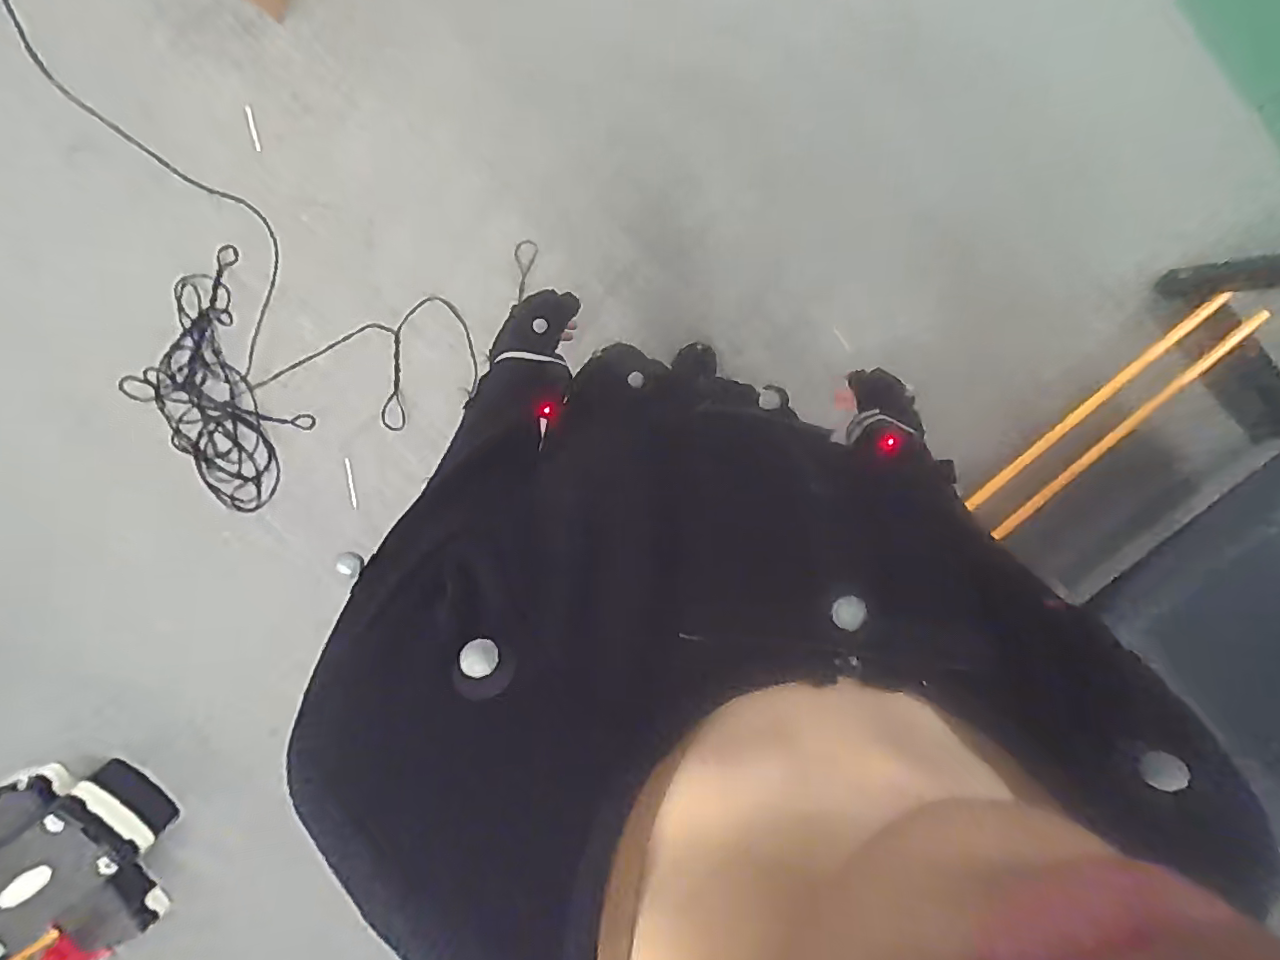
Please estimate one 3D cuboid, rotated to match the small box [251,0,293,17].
[{"bbox_3d":[-0.846,-1.138,1.133,0.179,0.176,0.168,33,103,-7],"label":"small box"}]
